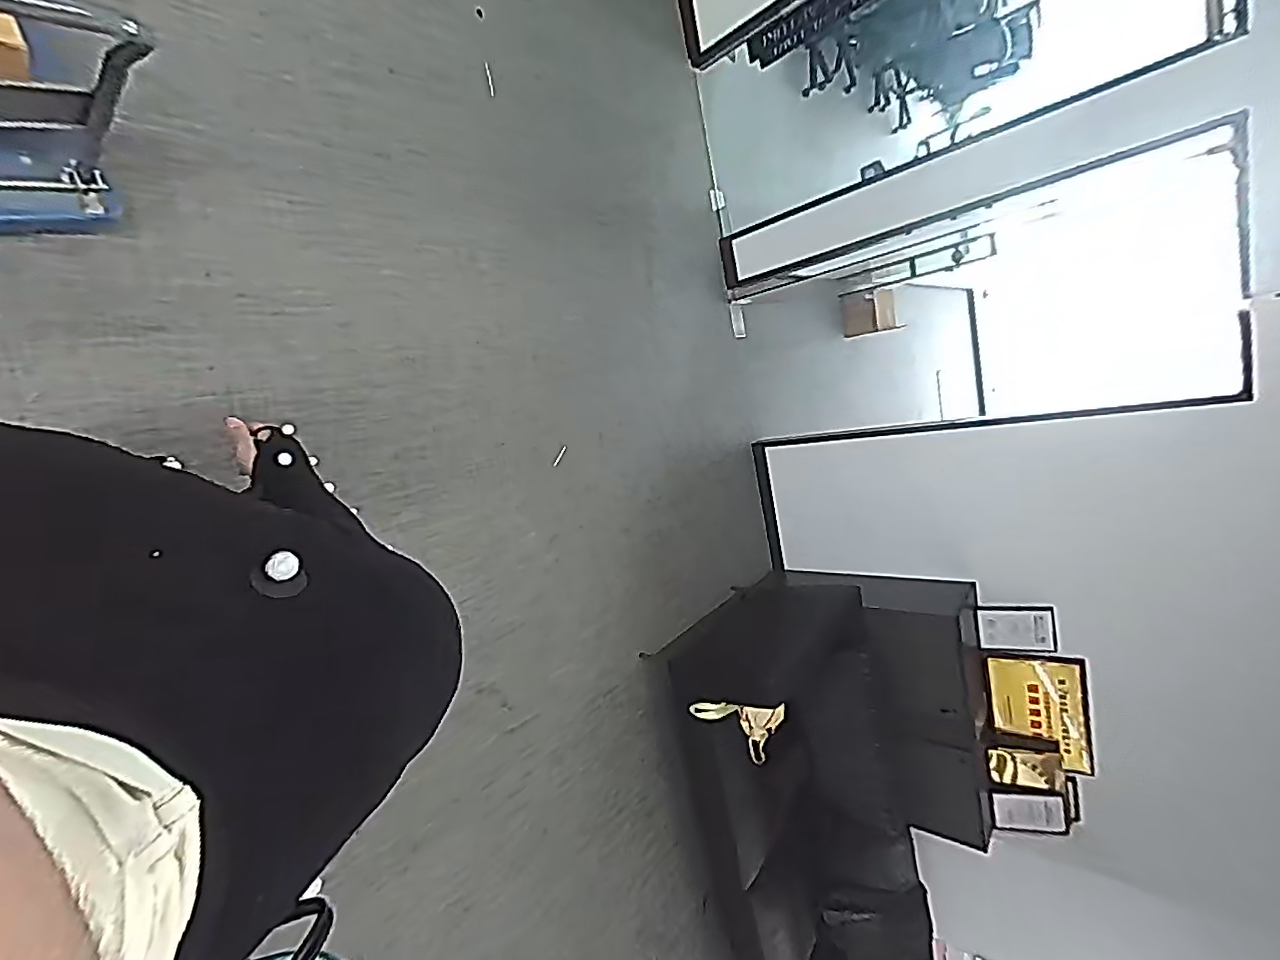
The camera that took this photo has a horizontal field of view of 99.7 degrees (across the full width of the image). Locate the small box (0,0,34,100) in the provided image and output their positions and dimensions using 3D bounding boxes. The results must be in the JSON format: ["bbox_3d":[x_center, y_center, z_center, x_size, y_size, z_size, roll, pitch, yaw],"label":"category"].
[{"bbox_3d":[-1.164,-0.778,0.896,0.168,0.176,0.179,-28,109,-45],"label":"small box"}]
